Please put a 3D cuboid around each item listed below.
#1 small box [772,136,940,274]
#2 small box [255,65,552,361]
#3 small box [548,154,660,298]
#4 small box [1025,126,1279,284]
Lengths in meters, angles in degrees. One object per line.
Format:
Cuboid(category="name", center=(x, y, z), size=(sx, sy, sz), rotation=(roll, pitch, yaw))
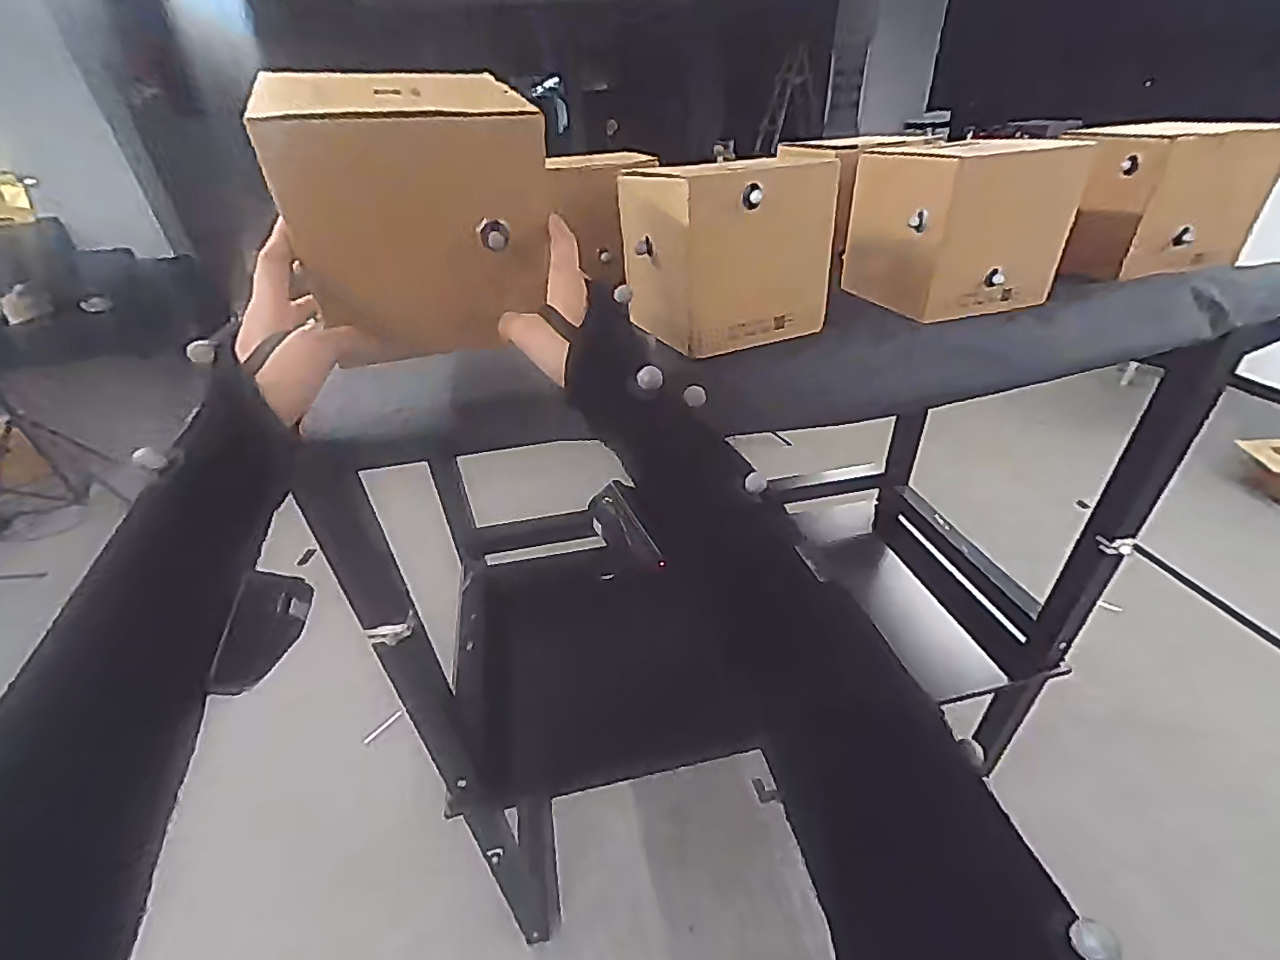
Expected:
Cuboid(category="small box", center=(0.319, -0.423, 0.836), size=(0.168, 0.176, 0.179), rotation=(-11, 34, -10))
Cuboid(category="small box", center=(-0.176, -0.217, 0.441), size=(0.179, 0.176, 0.168), rotation=(-14, 46, -20))
Cuboid(category="small box", center=(-0.071, -0.384, 0.812), size=(0.168, 0.176, 0.179), rotation=(-11, 36, -11))
Cuboid(category="small box", center=(0.673, -0.373, 0.730), size=(0.168, 0.176, 0.179), rotation=(-7, 35, -4))
